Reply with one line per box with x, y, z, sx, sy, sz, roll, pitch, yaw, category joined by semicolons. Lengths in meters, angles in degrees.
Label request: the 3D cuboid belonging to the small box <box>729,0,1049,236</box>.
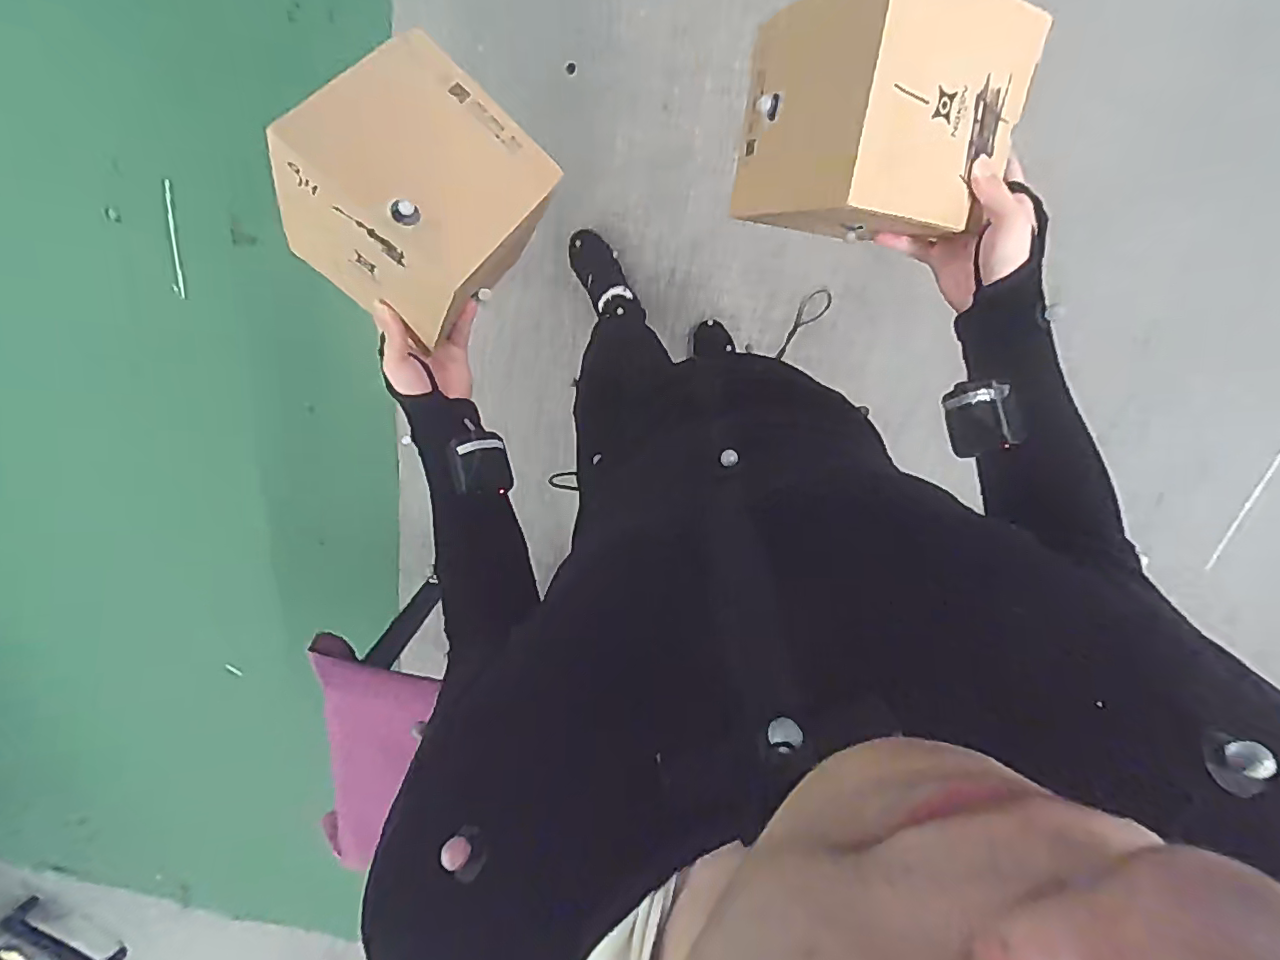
0.208;-0.324;0.493;0.179;0.176;0.168;-1;111;-23;small box

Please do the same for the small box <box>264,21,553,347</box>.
-0.209;-0.266;0.516;0.168;0.179;0.176;40;67;-17;small box
